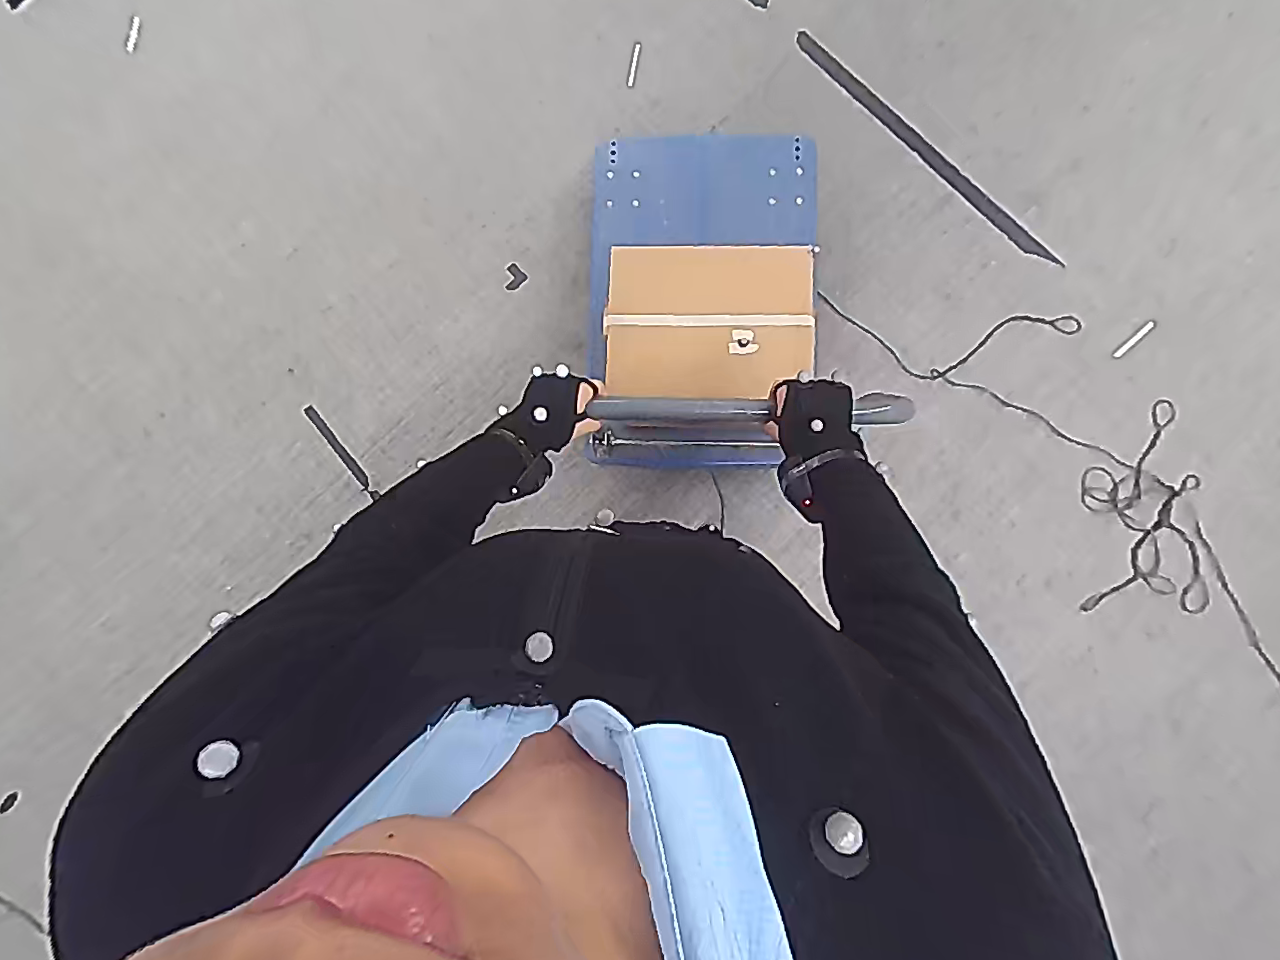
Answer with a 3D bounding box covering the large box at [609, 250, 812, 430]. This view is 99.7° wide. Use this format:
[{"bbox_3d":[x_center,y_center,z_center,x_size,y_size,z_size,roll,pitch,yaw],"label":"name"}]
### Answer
[{"bbox_3d":[0.143,-0.294,1.222,0.408,0.320,0.320,1,85,3],"label":"large box"}]
